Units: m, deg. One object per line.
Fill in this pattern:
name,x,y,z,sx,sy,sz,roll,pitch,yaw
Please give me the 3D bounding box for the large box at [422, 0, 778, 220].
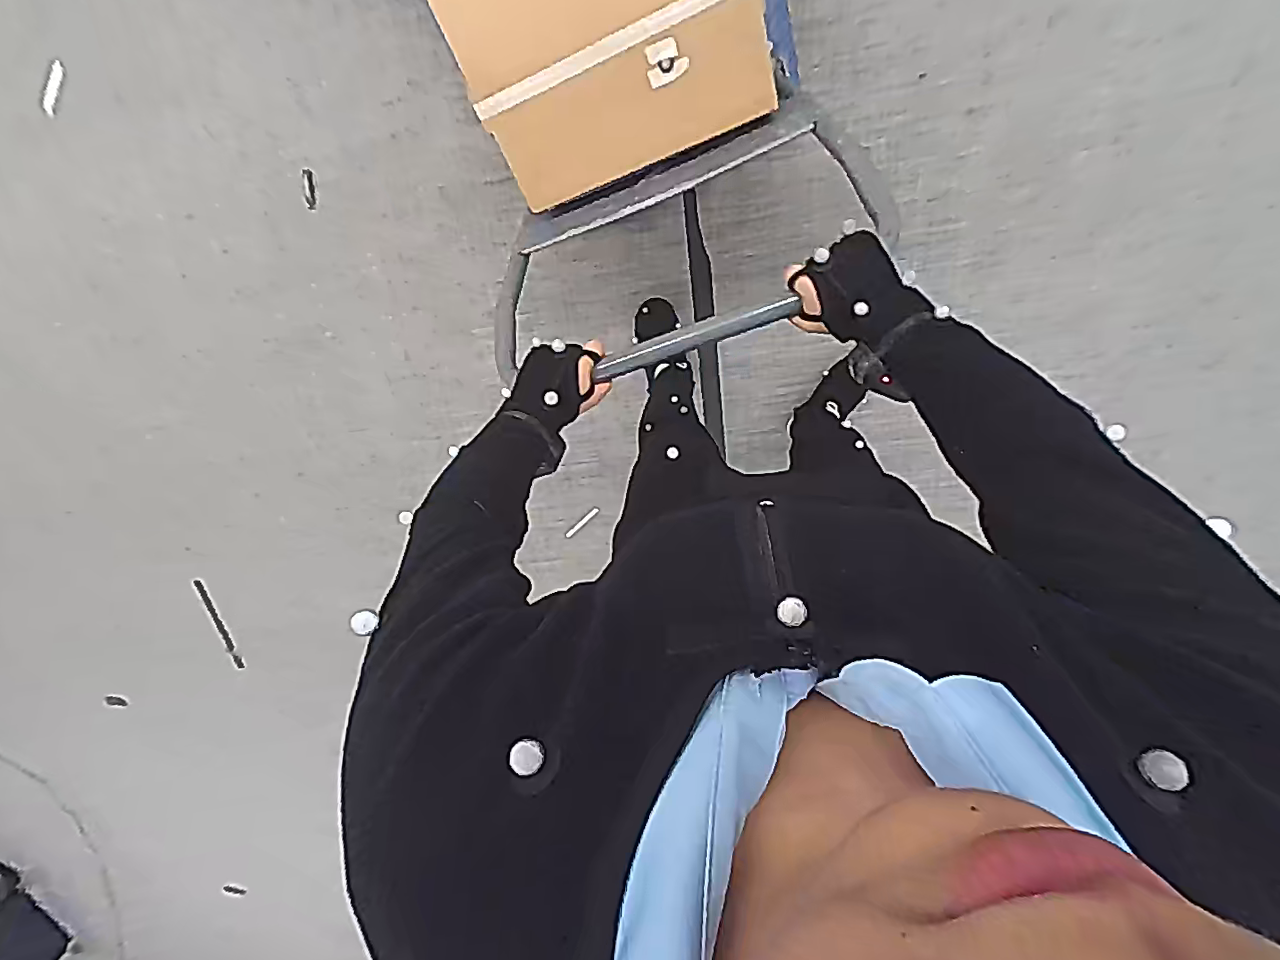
large box,-0.045,-0.675,0.835,0.408,0.320,0.320,-17,131,14
